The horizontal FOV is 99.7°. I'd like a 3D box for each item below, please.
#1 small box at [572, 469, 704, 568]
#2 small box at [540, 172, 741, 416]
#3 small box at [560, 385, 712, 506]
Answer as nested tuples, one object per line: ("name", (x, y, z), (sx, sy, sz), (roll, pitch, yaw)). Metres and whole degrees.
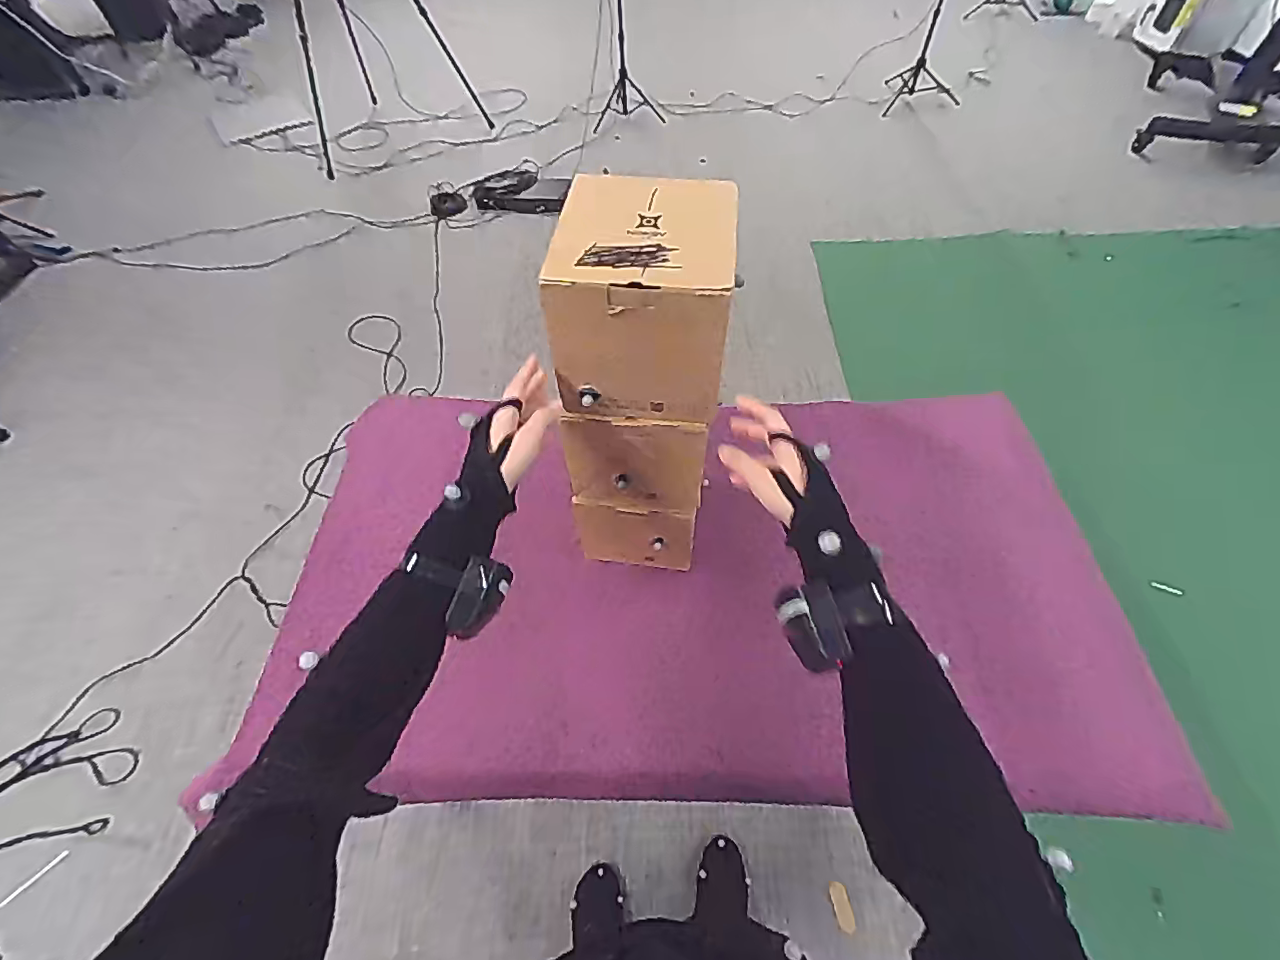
("small box", (0.007, 0.015, 0.814), (0.168, 0.176, 0.179), (7, 56, 7))
("small box", (0.009, -0.186, 0.556), (0.168, 0.176, 0.179), (6, 55, 5))
("small box", (0.003, -0.087, 0.687), (0.168, 0.176, 0.179), (5, 57, 4))
